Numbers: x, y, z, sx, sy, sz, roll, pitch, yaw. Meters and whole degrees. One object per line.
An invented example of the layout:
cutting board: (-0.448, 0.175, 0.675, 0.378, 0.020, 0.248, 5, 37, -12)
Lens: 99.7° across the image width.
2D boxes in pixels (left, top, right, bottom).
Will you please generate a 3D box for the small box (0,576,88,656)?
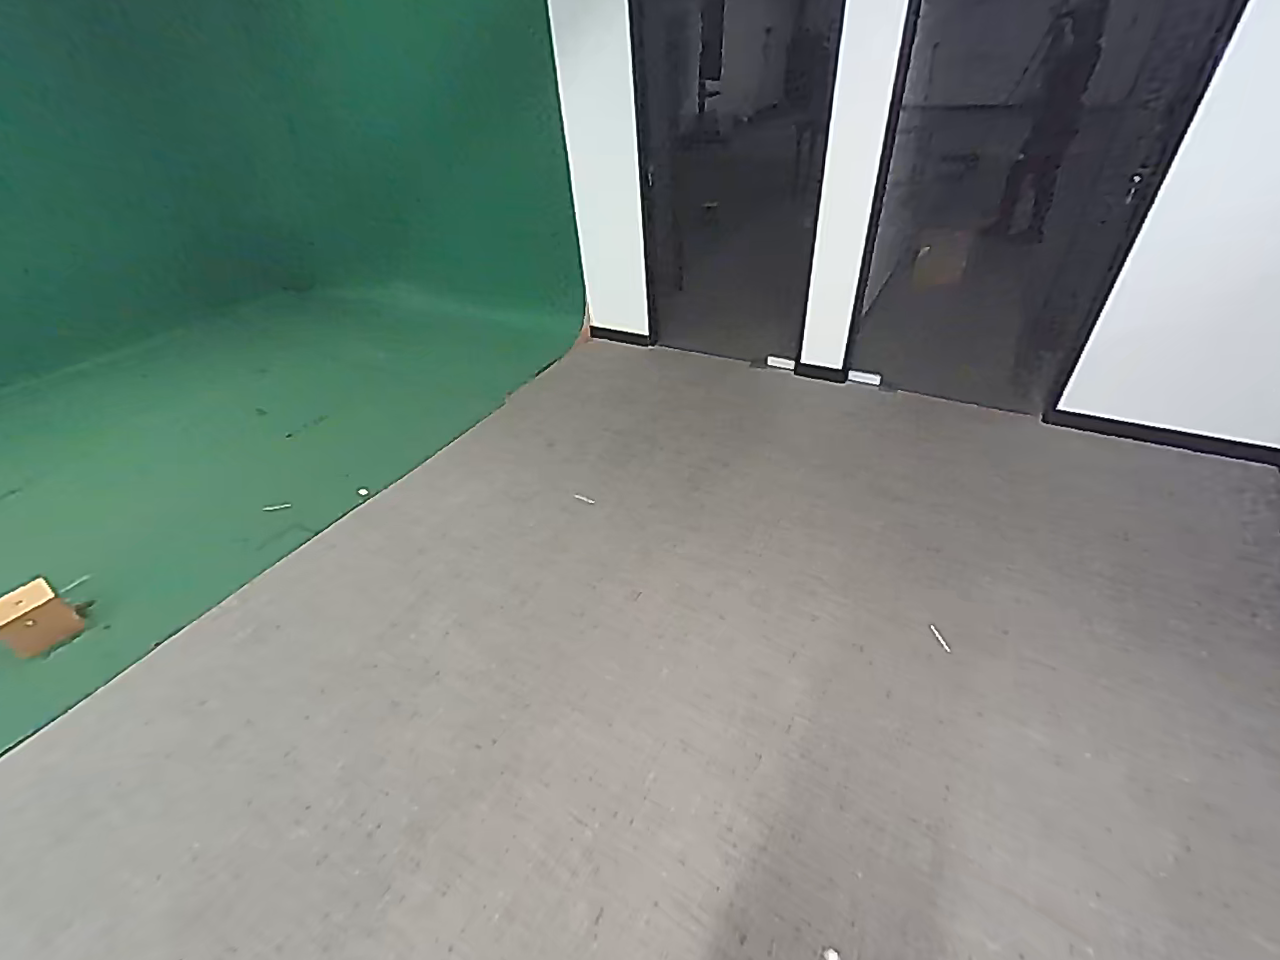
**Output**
small box: (-2.118, 0.481, 1.913, 0.168, 0.176, 0.179, 22, 46, 28)
